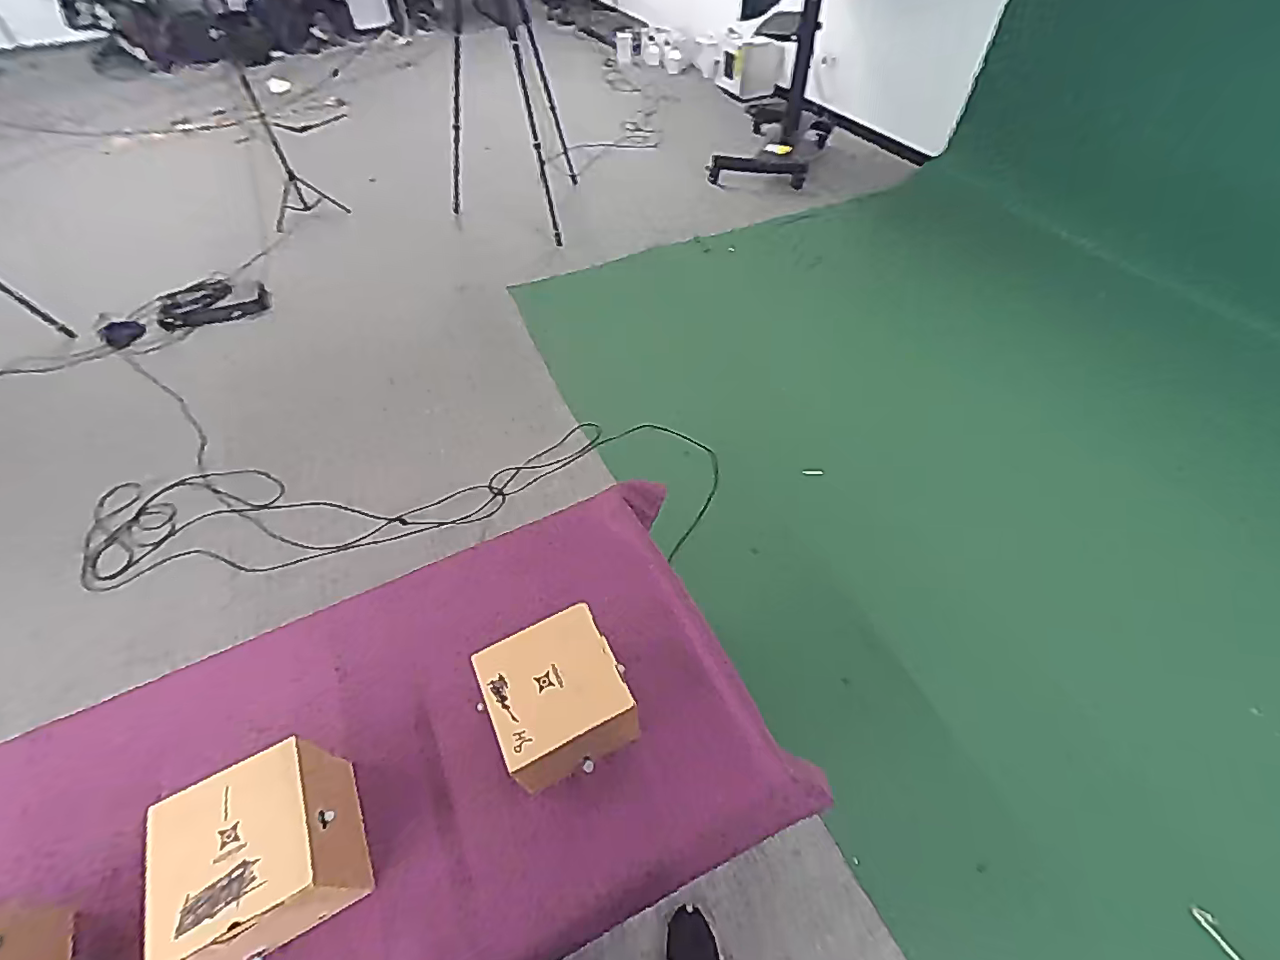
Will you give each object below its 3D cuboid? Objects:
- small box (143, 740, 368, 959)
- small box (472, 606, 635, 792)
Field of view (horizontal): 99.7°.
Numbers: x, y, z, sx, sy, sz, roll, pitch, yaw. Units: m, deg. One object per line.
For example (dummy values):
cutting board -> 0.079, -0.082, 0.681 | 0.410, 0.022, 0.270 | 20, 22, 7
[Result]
small box -> -0.464, 0.464, 0.673 | 0.168, 0.176, 0.179 | -24, 54, -17
small box -> -0.118, 0.318, 0.782 | 0.179, 0.176, 0.168 | -22, 54, -16
